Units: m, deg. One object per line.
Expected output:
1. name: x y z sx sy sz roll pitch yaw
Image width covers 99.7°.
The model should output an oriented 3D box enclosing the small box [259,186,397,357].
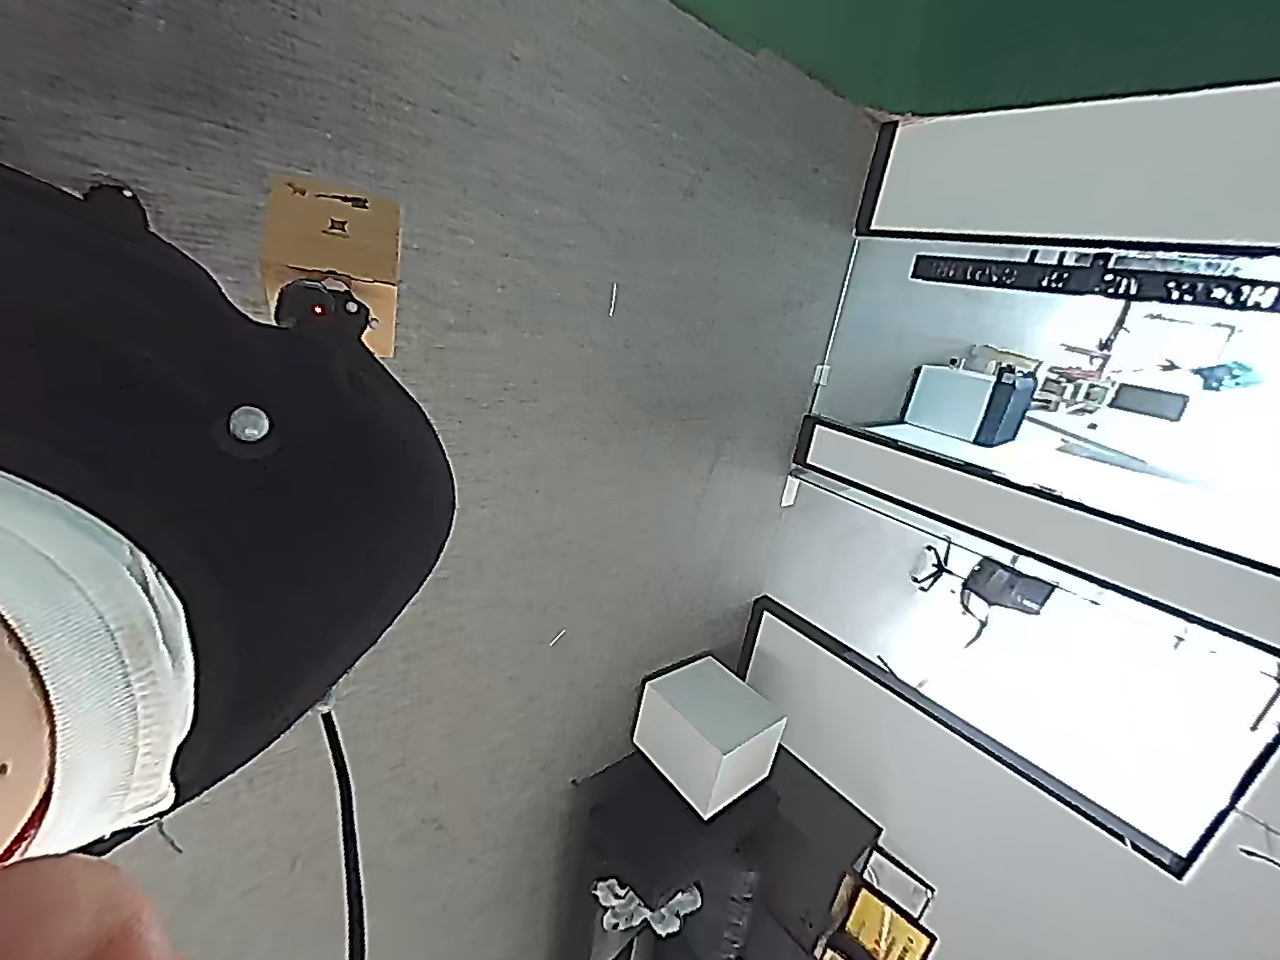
1. small box: -0.469 -0.312 0.840 0.168 0.179 0.176 -1 154 -24
